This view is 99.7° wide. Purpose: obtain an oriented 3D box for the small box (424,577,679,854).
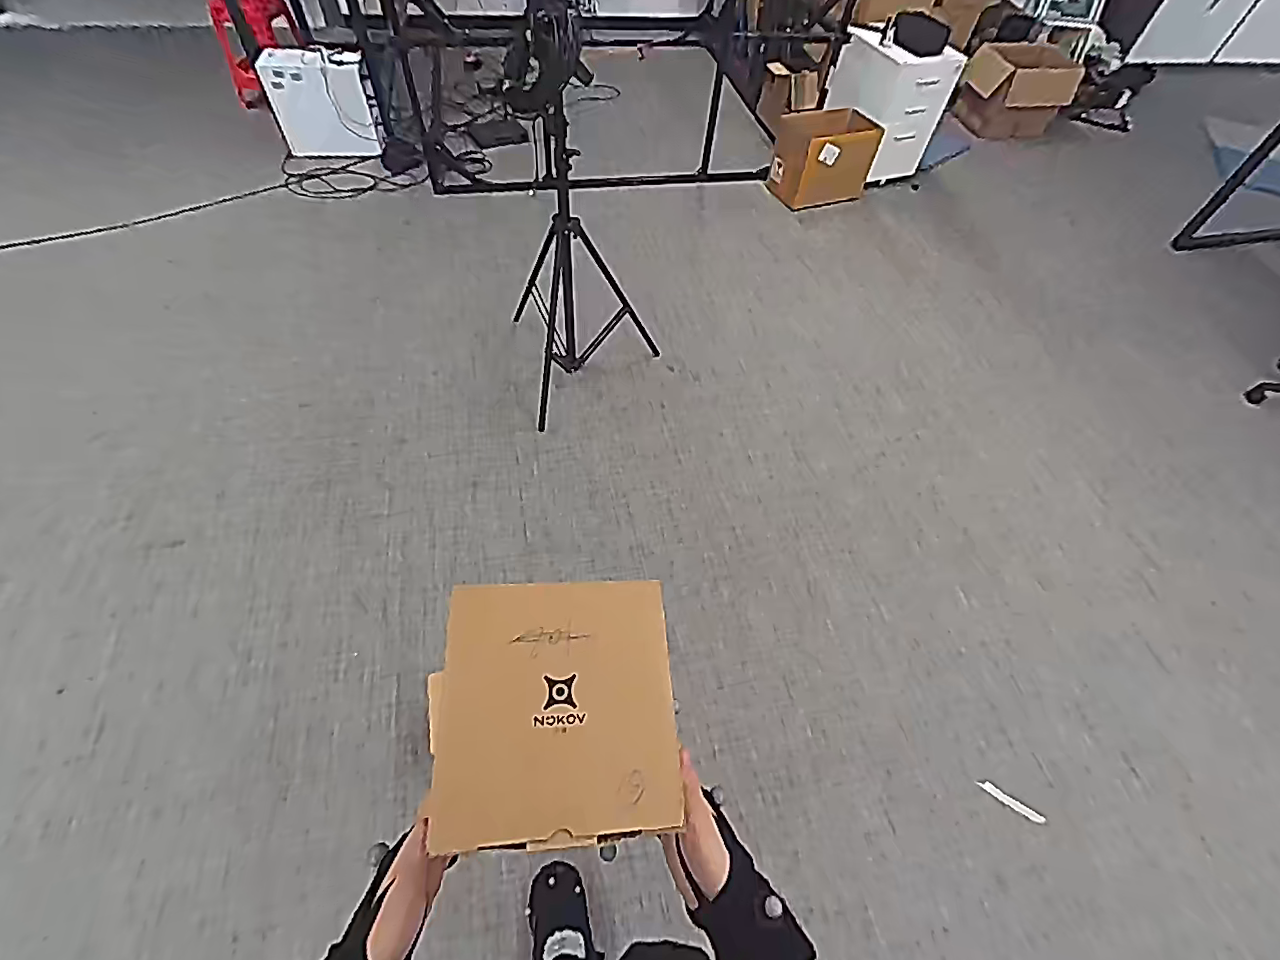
[{"bbox_3d":[-0.071,0.196,0.453,0.168,0.176,0.179,0,57,-11],"label":"small box"}]
